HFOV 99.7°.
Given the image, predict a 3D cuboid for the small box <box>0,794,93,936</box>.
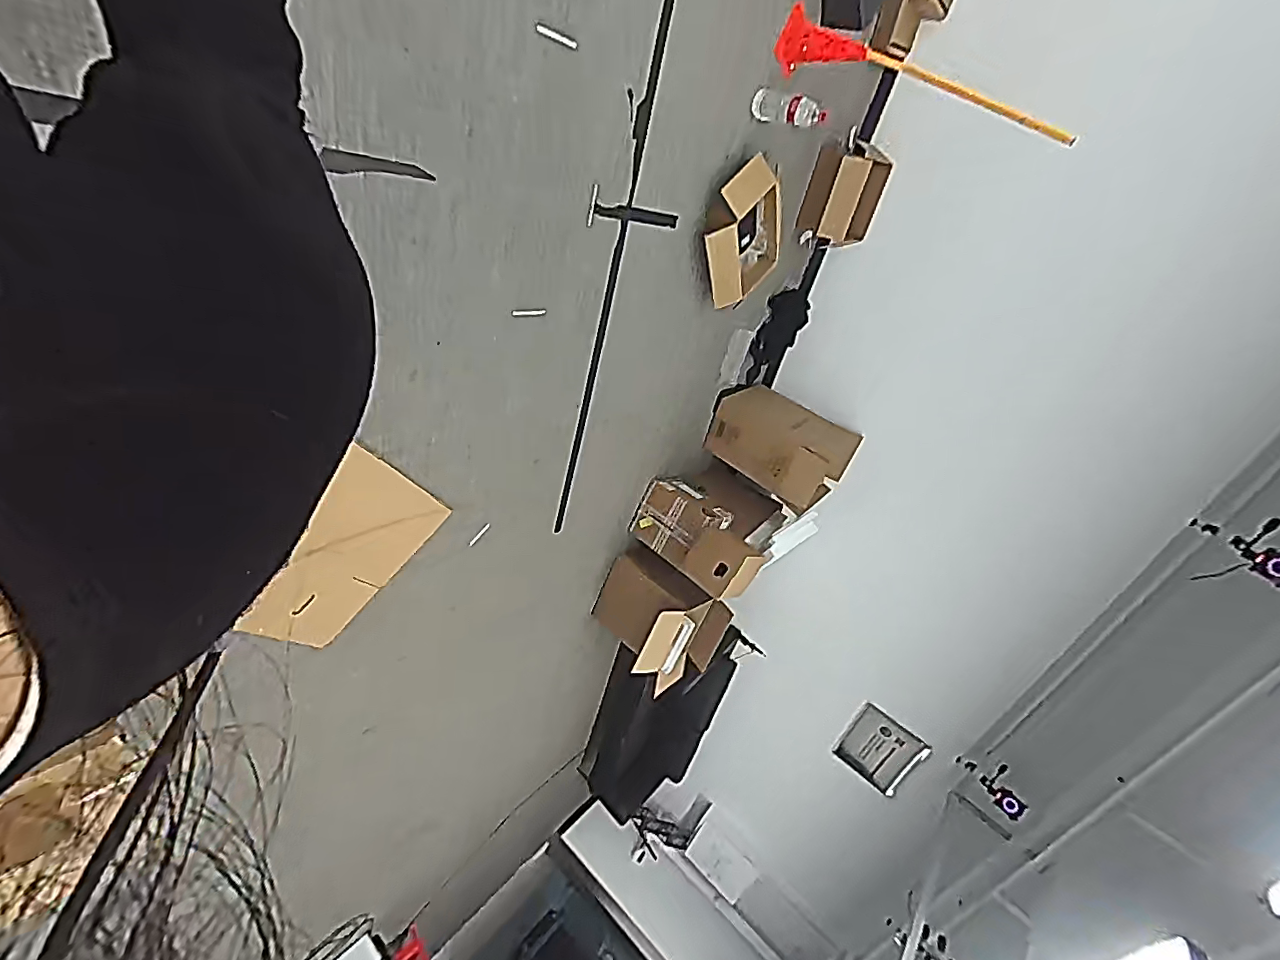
[{"bbox_3d":[-1.335,0.819,1.160,0.168,0.176,0.179,-25,141,-44],"label":"small box"}]
